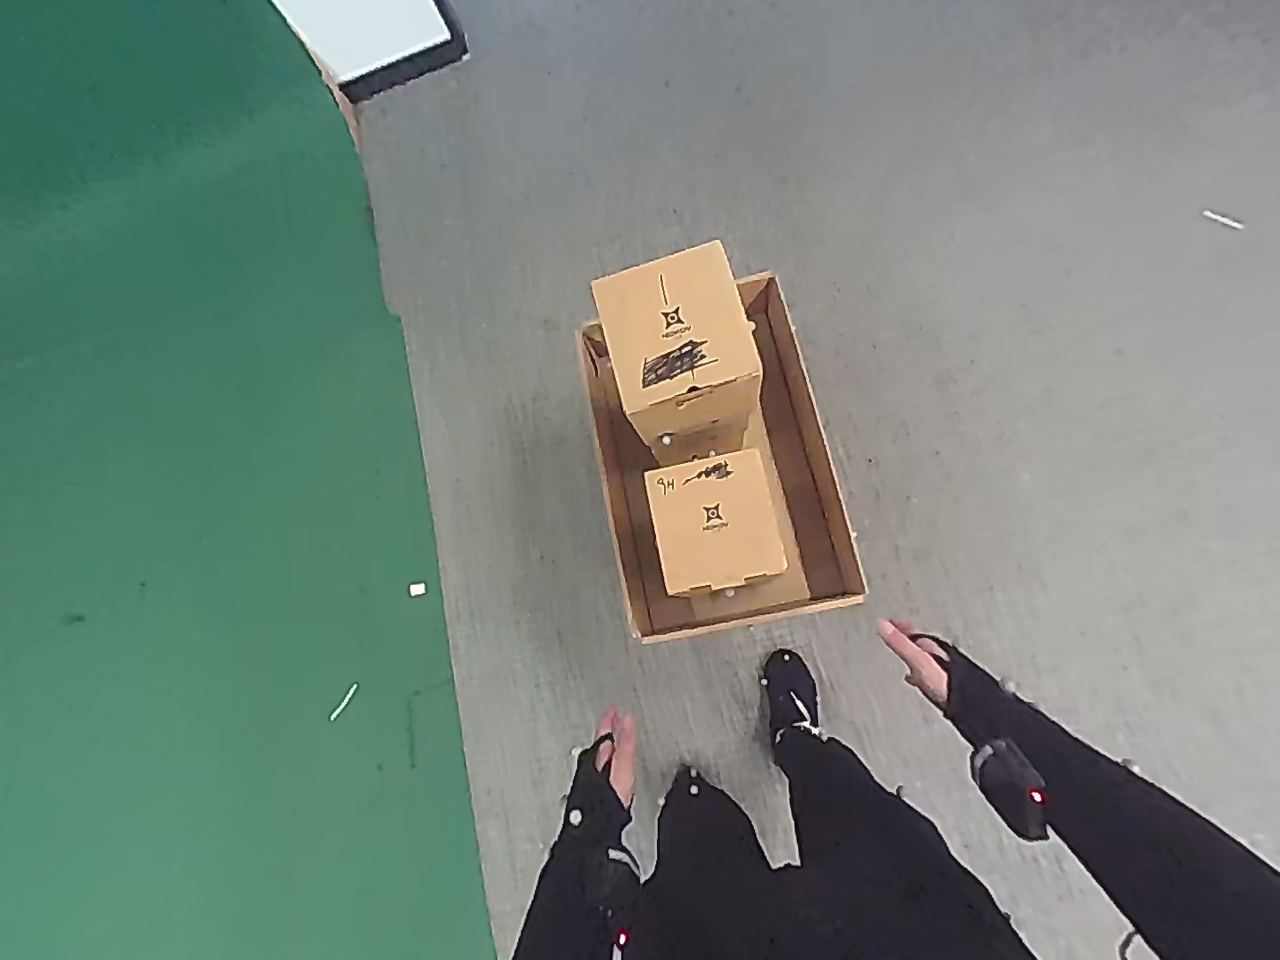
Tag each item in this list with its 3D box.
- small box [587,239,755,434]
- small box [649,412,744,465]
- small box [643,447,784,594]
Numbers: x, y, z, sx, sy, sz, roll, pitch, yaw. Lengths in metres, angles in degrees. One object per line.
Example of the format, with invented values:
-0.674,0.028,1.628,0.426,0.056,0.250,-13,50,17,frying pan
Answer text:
0.047,-0.169,0.707,0.168,0.176,0.179,-17,79,7,small box
0.095,-0.138,1.031,0.168,0.176,0.179,-14,79,7,small box
0.111,0.068,0.809,0.168,0.176,0.179,-13,76,7,small box
